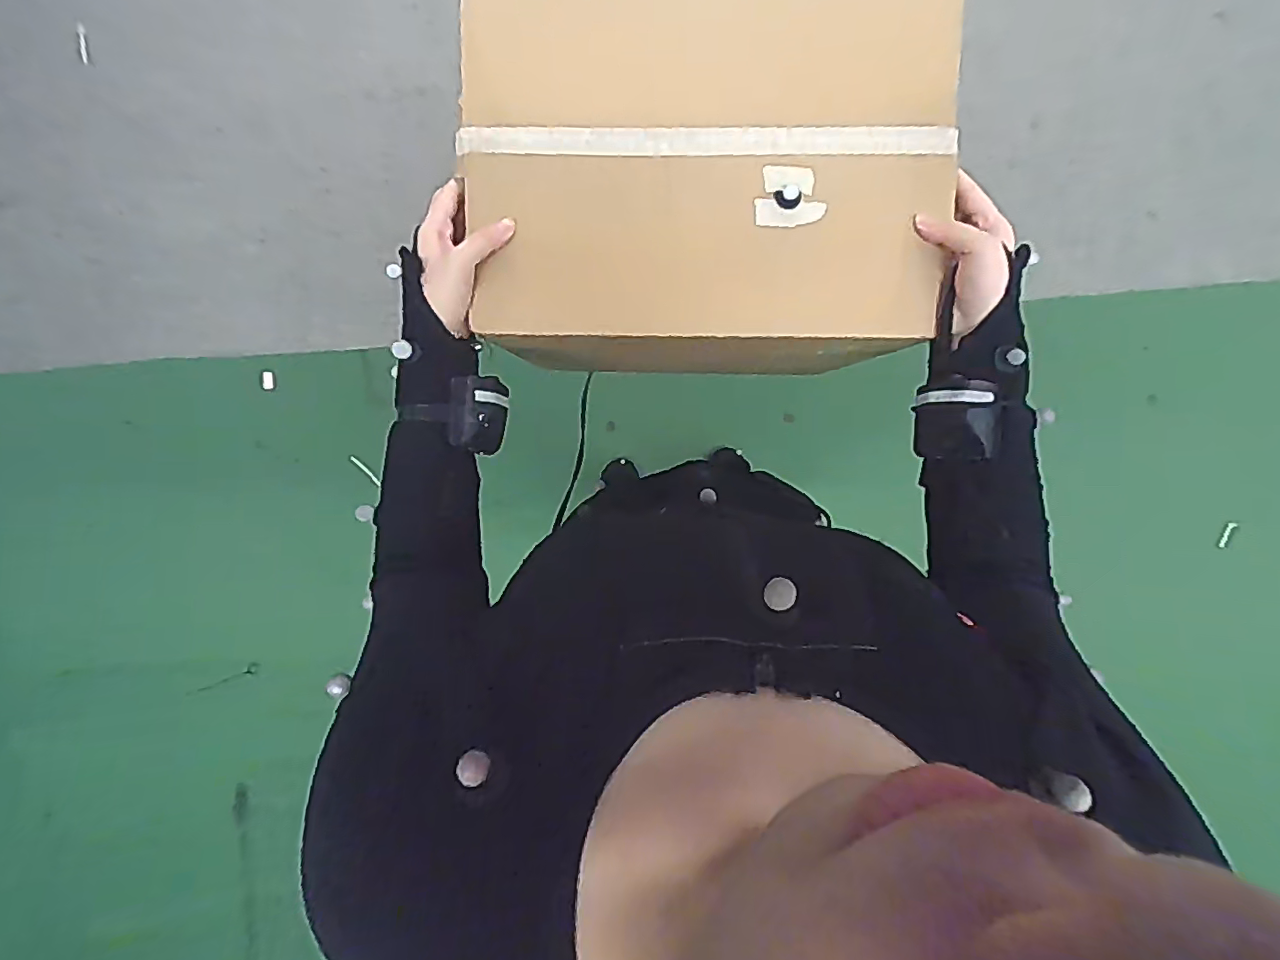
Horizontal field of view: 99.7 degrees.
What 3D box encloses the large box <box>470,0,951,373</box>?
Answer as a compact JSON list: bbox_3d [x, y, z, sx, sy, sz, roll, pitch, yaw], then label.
[{"bbox_3d":[0.056,-0.294,0.603,0.408,0.320,0.320,0,96,-1],"label":"large box"}]
